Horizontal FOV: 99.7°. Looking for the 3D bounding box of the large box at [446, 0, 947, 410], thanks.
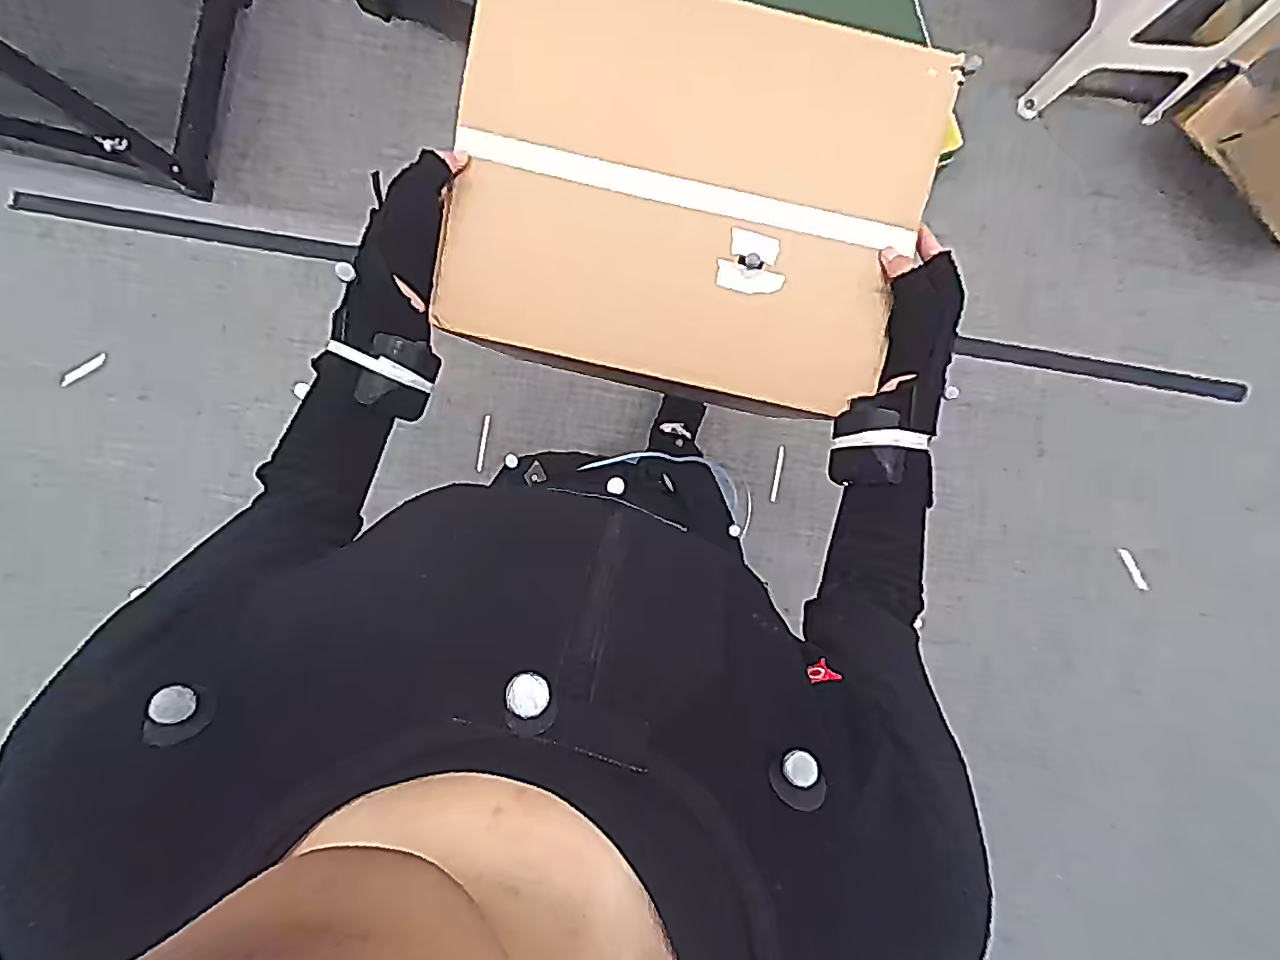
[{"bbox_3d":[0.042,-0.272,0.629,0.408,0.320,0.320,13,98,-2],"label":"large box"}]
